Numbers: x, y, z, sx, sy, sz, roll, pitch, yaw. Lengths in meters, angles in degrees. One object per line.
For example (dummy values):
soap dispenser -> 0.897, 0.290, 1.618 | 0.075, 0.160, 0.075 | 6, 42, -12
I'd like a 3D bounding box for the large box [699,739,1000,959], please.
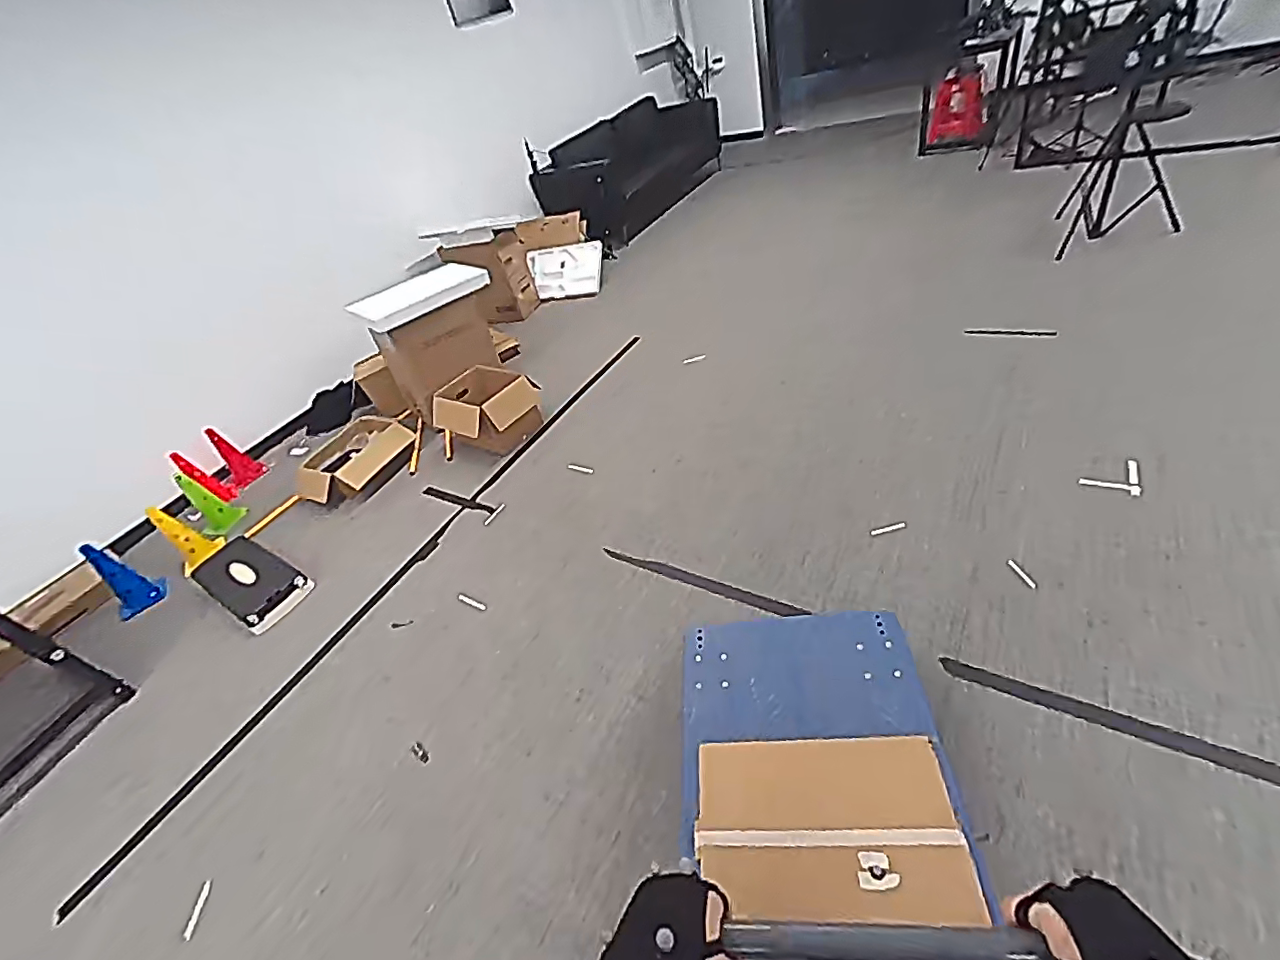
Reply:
large box -> 0.326, 0.689, 0.954 | 0.408, 0.320, 0.320 | -7, 41, 11
